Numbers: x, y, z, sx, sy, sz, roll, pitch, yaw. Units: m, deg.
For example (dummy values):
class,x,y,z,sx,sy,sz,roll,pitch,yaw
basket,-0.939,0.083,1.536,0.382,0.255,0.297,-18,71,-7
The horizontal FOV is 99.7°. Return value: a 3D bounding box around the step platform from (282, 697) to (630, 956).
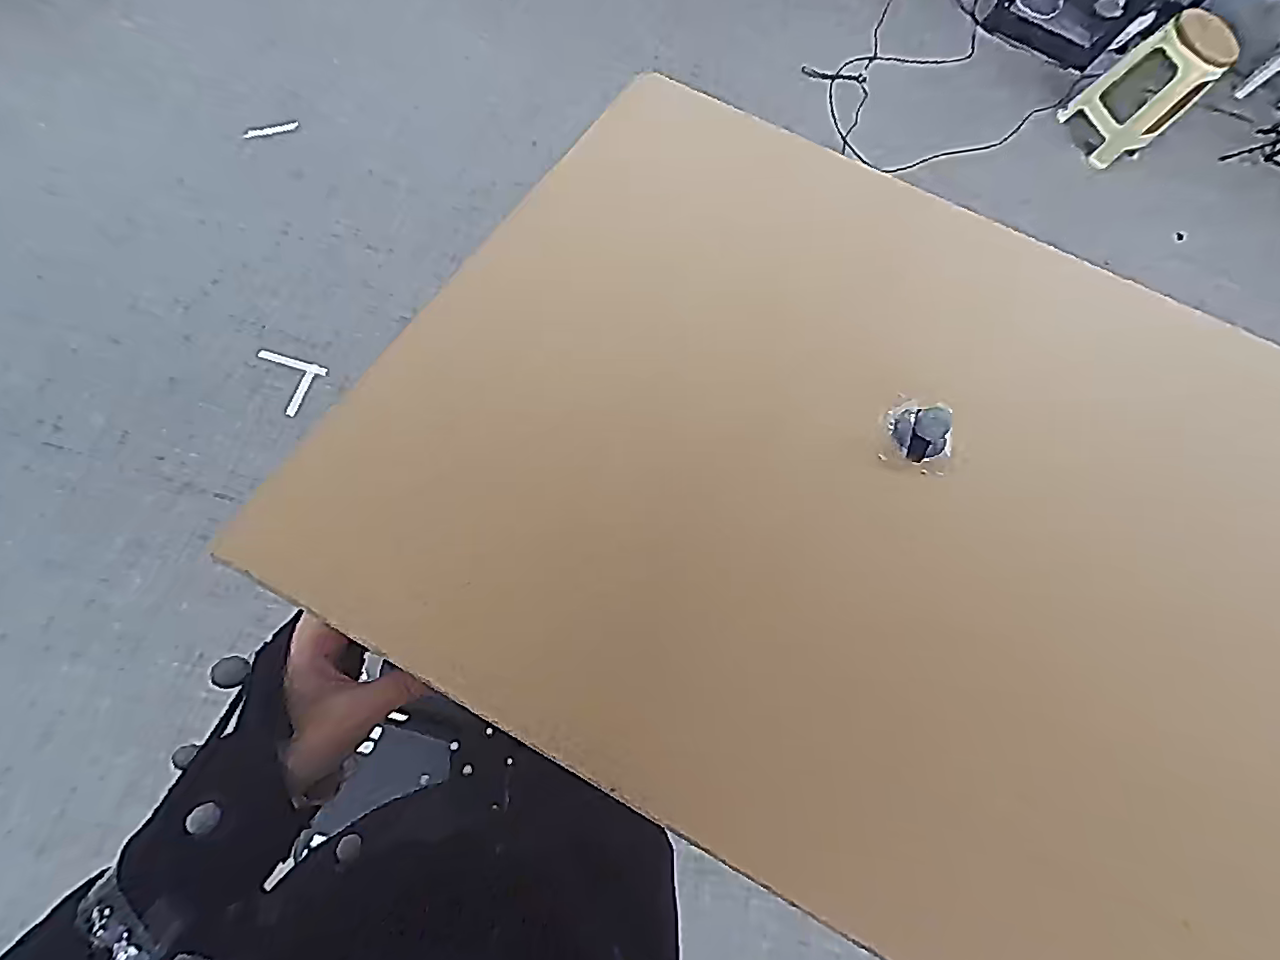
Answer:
class,x,y,z,sx,sy,sz,roll,pitch,yaw
step platform,-0.367,0.725,1.164,0.684,0.204,0.286,24,70,-3
